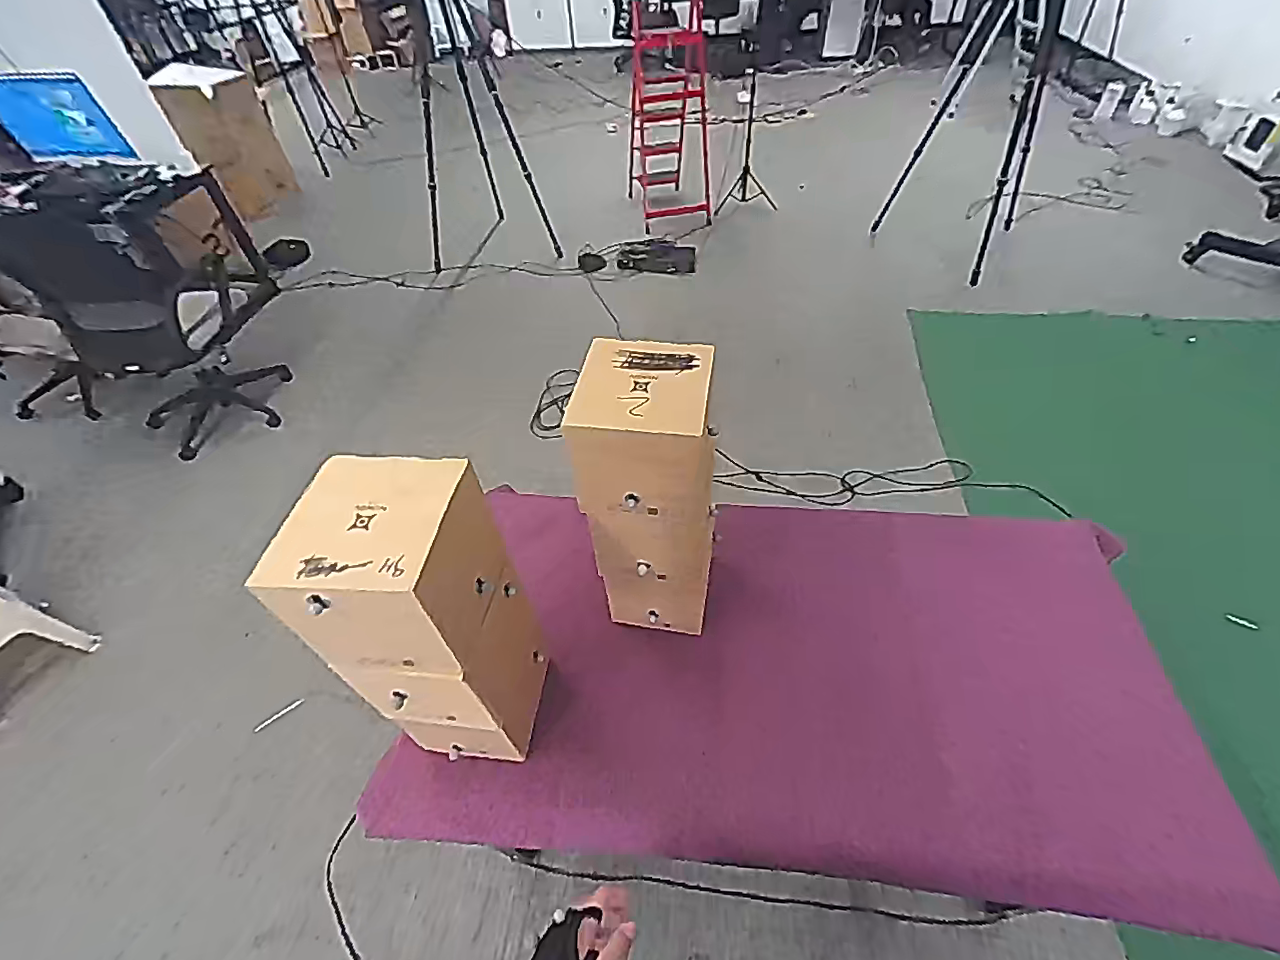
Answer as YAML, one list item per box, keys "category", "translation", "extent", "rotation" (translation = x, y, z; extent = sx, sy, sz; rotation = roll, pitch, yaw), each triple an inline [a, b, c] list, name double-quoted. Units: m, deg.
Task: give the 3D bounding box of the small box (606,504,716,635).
- category: "small box"
  translation: [0.041, 0.151, 0.971]
  extent: [0.168, 0.176, 0.179]
  rotation: [7, 50, 10]

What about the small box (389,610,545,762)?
- category: "small box"
  translation: [-0.253, 0.315, 0.845]
  extent: [0.168, 0.176, 0.179]
  rotation: [3, 48, 7]

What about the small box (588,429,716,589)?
- category: "small box"
  translation: [0.025, 0.045, 0.846]
  extent: [0.168, 0.176, 0.179]
  rotation: [5, 50, 9]

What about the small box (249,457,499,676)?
- category: "small box"
  translation: [-0.270, 0.094, 0.604]
  extent: [0.168, 0.176, 0.179]
  rotation: [1, 46, 7]

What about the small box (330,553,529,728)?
- category: "small box"
  translation: [-0.259, 0.211, 0.721]
  extent: [0.168, 0.176, 0.179]
  rotation: [3, 46, 8]
